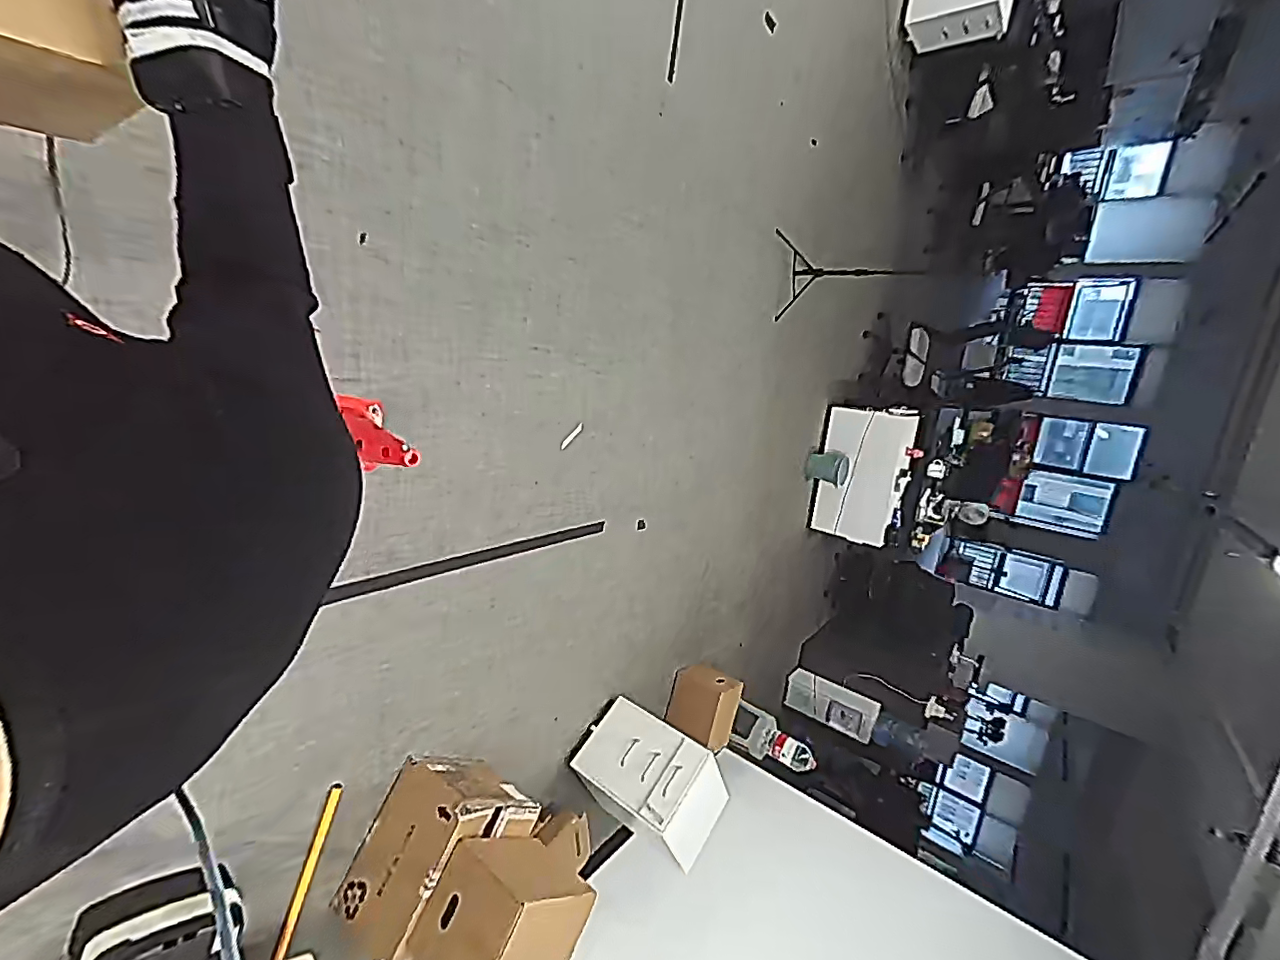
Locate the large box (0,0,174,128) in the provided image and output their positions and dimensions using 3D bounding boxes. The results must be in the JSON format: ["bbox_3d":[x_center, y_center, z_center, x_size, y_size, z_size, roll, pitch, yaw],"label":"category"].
[{"bbox_3d":[-0.556,-0.430,0.270,0.408,0.320,0.320,-16,117,-51],"label":"large box"}]

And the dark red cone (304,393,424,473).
[{"bbox_3d":[-0.643,-0.082,1.318,0.201,0.394,0.202,1,102,-52],"label":"dark red cone"}]
